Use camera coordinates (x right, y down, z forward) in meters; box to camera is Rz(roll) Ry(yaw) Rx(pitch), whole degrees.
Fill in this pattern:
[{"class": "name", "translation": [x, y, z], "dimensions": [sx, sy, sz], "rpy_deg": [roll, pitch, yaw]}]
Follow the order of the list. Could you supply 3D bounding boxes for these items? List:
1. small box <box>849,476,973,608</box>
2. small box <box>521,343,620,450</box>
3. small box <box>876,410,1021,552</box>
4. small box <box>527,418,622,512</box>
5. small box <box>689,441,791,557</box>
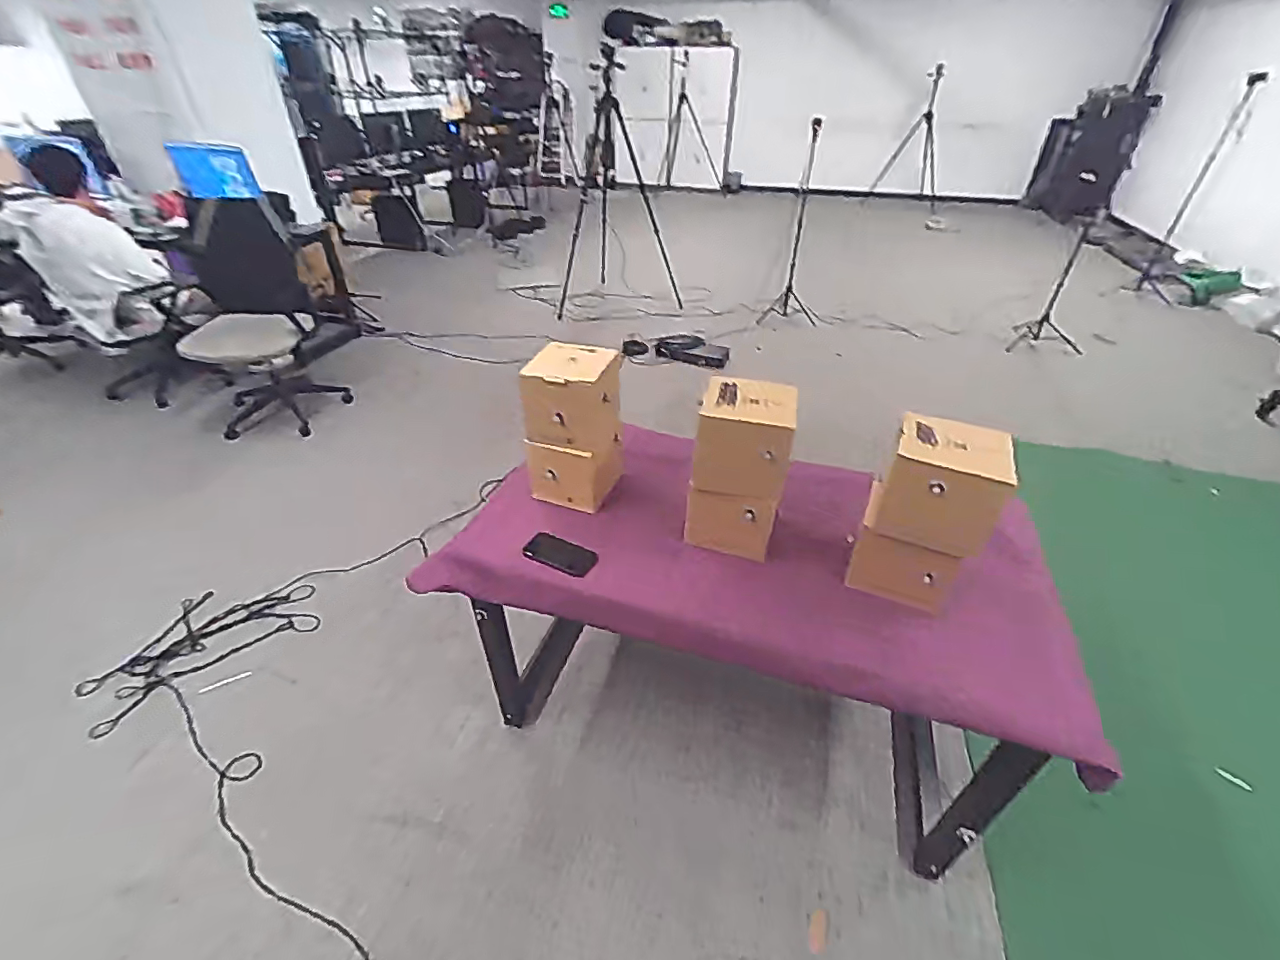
[{"class": "small box", "translation": [0.527, 0.123, 1.055], "dimensions": [0.179, 0.176, 0.168], "rpy_deg": [16, 39, 22]}, {"class": "small box", "translation": [-0.143, -0.185, 1.197], "dimensions": [0.168, 0.176, 0.179], "rpy_deg": [10, 38, 12]}, {"class": "small box", "translation": [0.529, 0.001, 0.945], "dimensions": [0.179, 0.176, 0.168], "rpy_deg": [17, 39, 21]}, {"class": "small box", "translation": [-0.145, -0.048, 1.289], "dimensions": [0.168, 0.176, 0.179], "rpy_deg": [13, 38, 17]}, {"class": "small box", "translation": [0.213, 0.043, 1.161], "dimensions": [0.179, 0.176, 0.168], "rpy_deg": [13, 38, 16]}]
